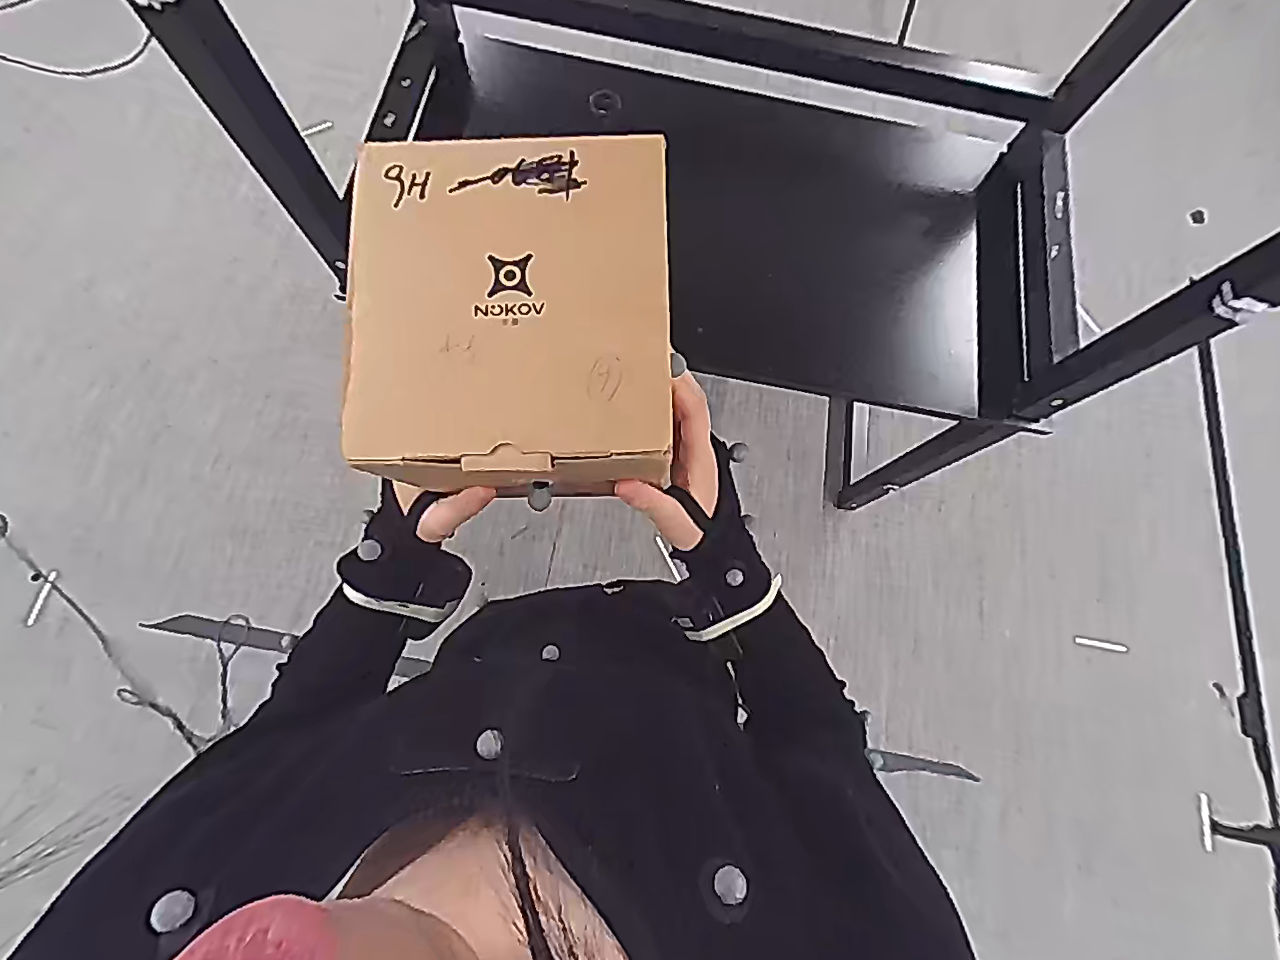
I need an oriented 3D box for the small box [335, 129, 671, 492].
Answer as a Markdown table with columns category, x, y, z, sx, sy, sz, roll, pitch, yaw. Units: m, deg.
| category | x | y | z | sx | sy | sz | roll | pitch | yaw |
| --- | --- | --- | --- | --- | --- | --- | --- | --- | --- |
| small box | -0.066 | -0.084 | 0.347 | 0.168 | 0.176 | 0.179 | -1 | 83 | -1 |
